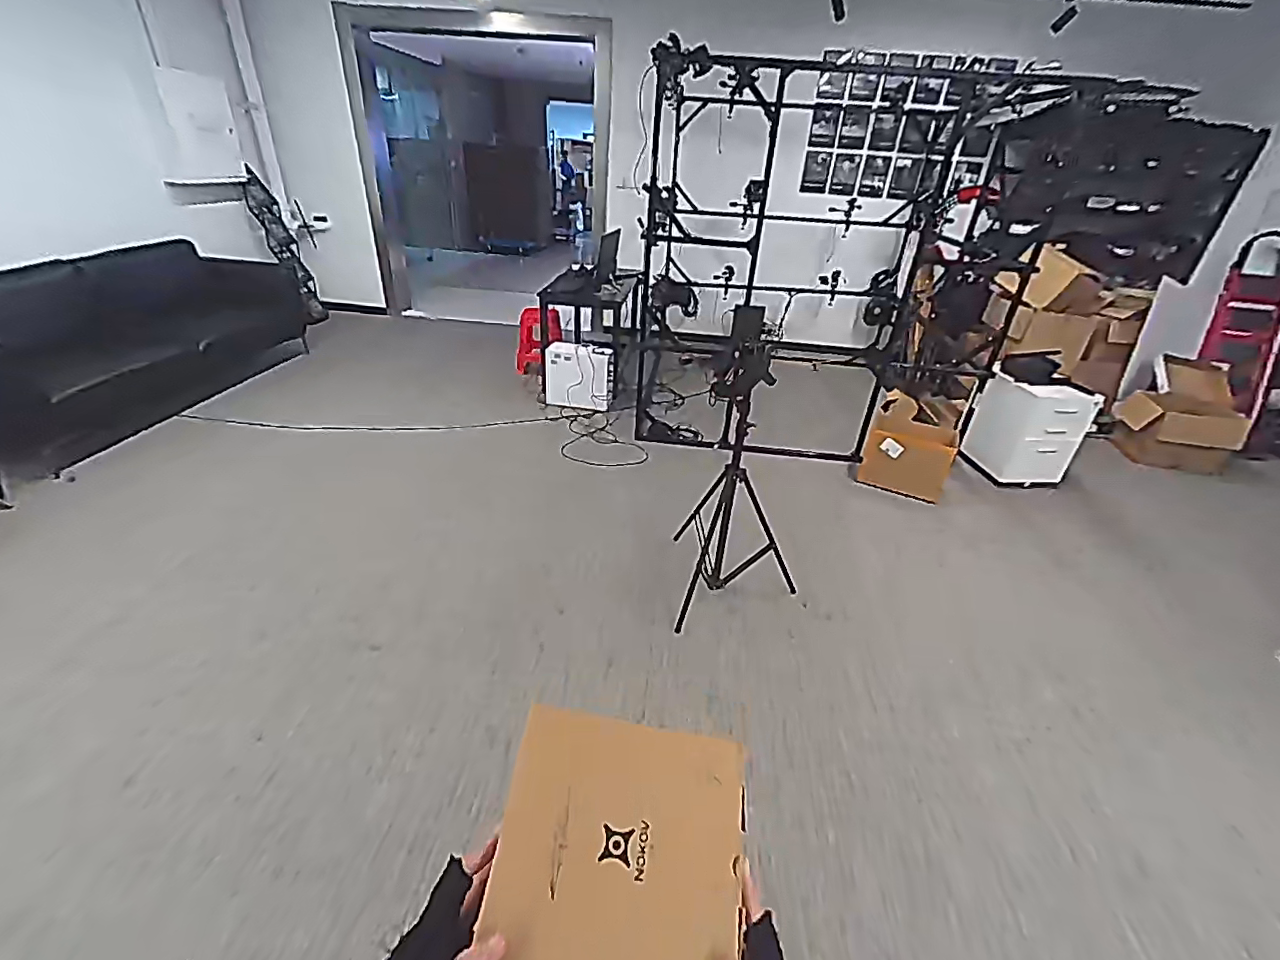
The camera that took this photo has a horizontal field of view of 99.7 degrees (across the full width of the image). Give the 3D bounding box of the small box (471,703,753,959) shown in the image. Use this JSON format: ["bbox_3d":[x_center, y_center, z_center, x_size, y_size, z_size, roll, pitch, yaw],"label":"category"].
[{"bbox_3d":[-0.013,0.302,0.441,0.179,0.176,0.168,8,51,3],"label":"small box"}]
